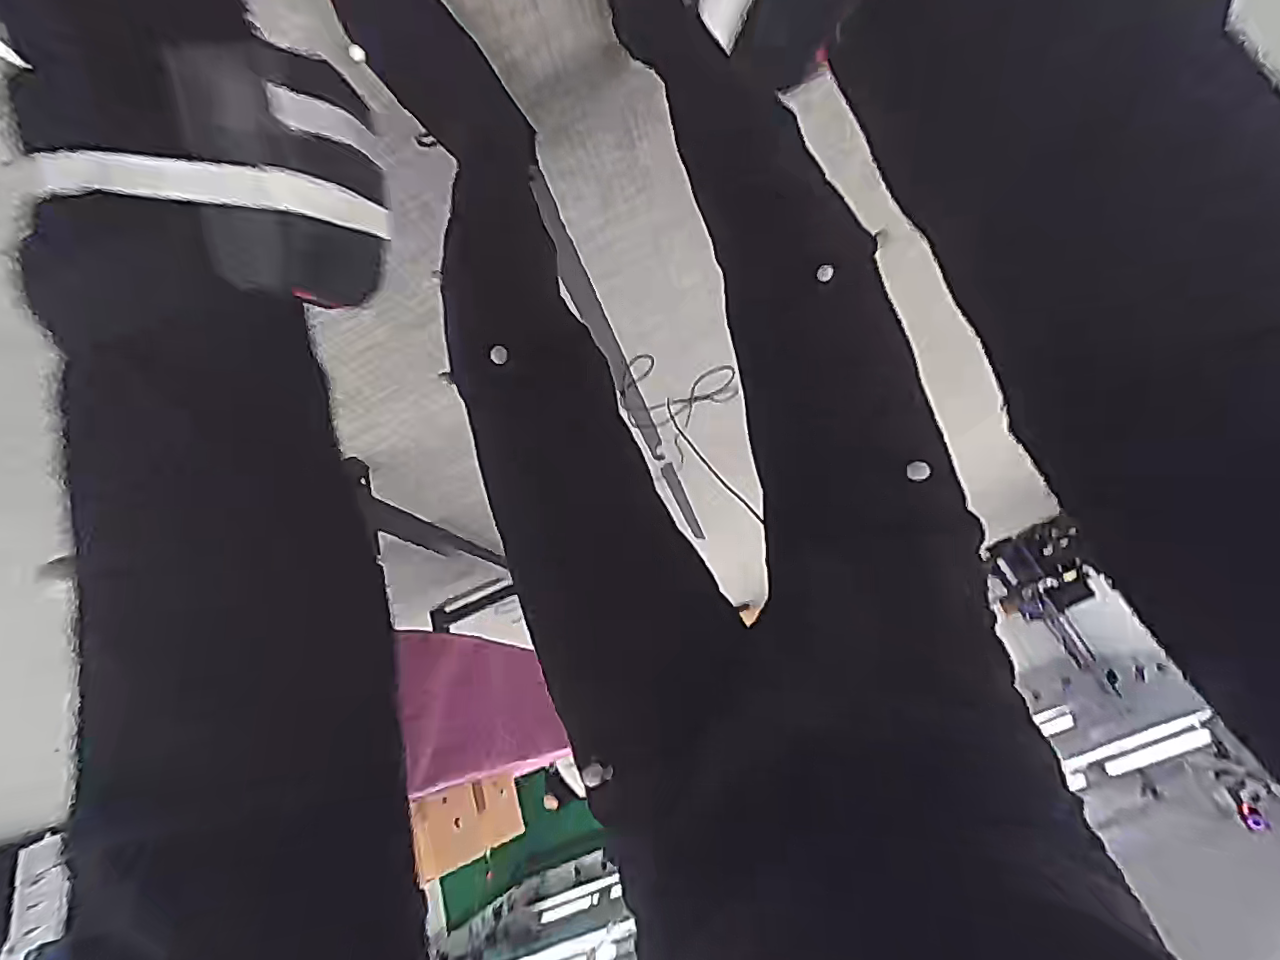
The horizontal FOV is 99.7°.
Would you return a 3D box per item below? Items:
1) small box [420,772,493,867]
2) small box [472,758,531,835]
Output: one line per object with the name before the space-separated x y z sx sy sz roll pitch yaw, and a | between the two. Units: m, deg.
small box | -0.498 0.841 1.334 0.179 0.176 0.168 -28 155 14
small box | -0.445 0.930 1.567 0.179 0.176 0.168 -26 156 9
